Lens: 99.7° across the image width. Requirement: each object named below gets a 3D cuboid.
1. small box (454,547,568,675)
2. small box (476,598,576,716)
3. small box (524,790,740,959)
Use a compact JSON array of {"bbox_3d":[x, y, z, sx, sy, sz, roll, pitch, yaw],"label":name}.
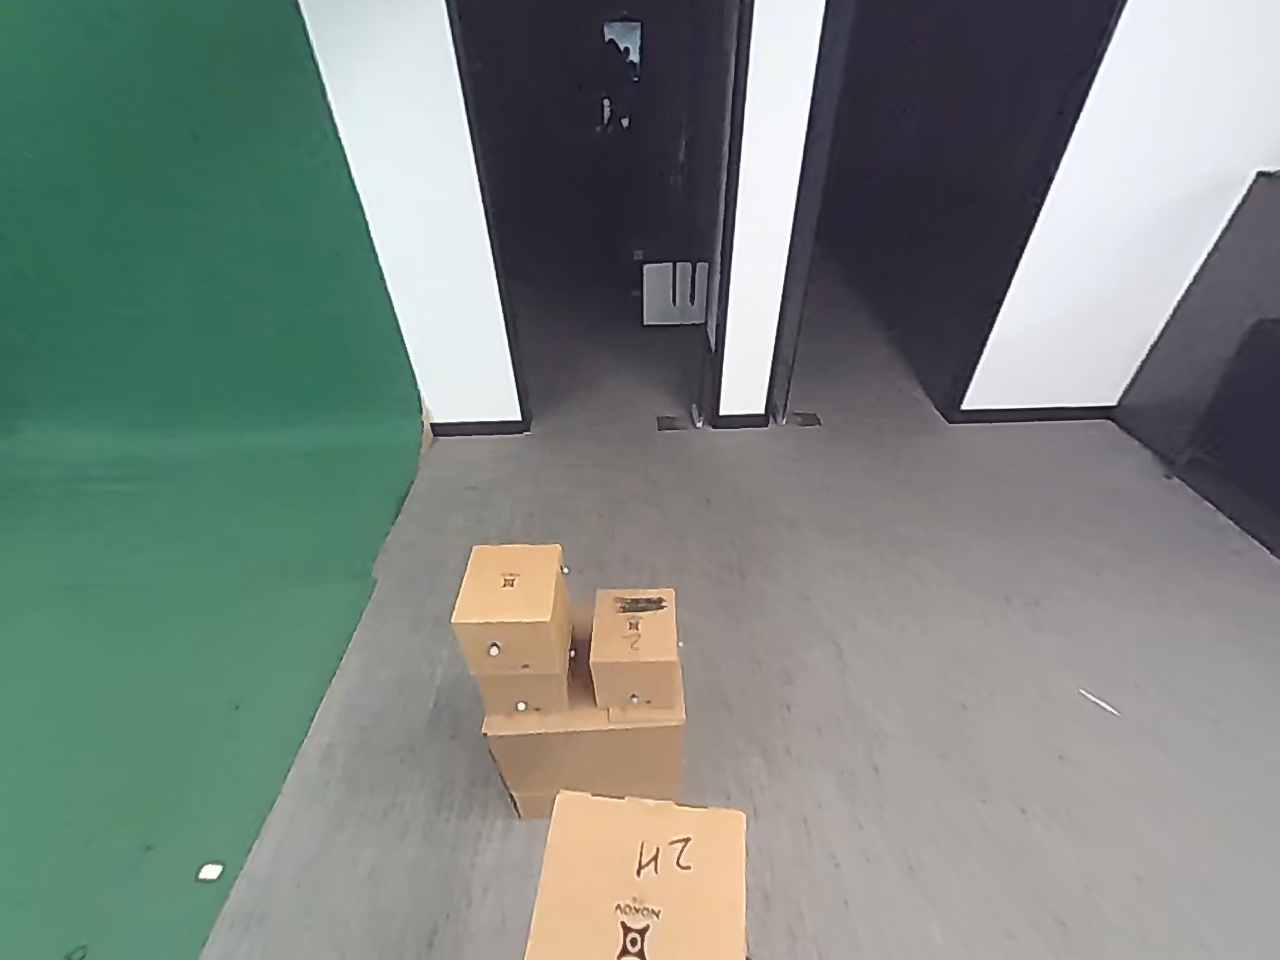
[{"bbox_3d":[-0.227,0.246,1.006,0.168,0.176,0.179,0,40,-1],"label":"small box"},{"bbox_3d":[-0.225,0.363,1.119,0.168,0.176,0.179,0,41,0],"label":"small box"},{"bbox_3d":[0.004,0.402,0.483,0.168,0.176,0.179,1,49,10],"label":"small box"}]
